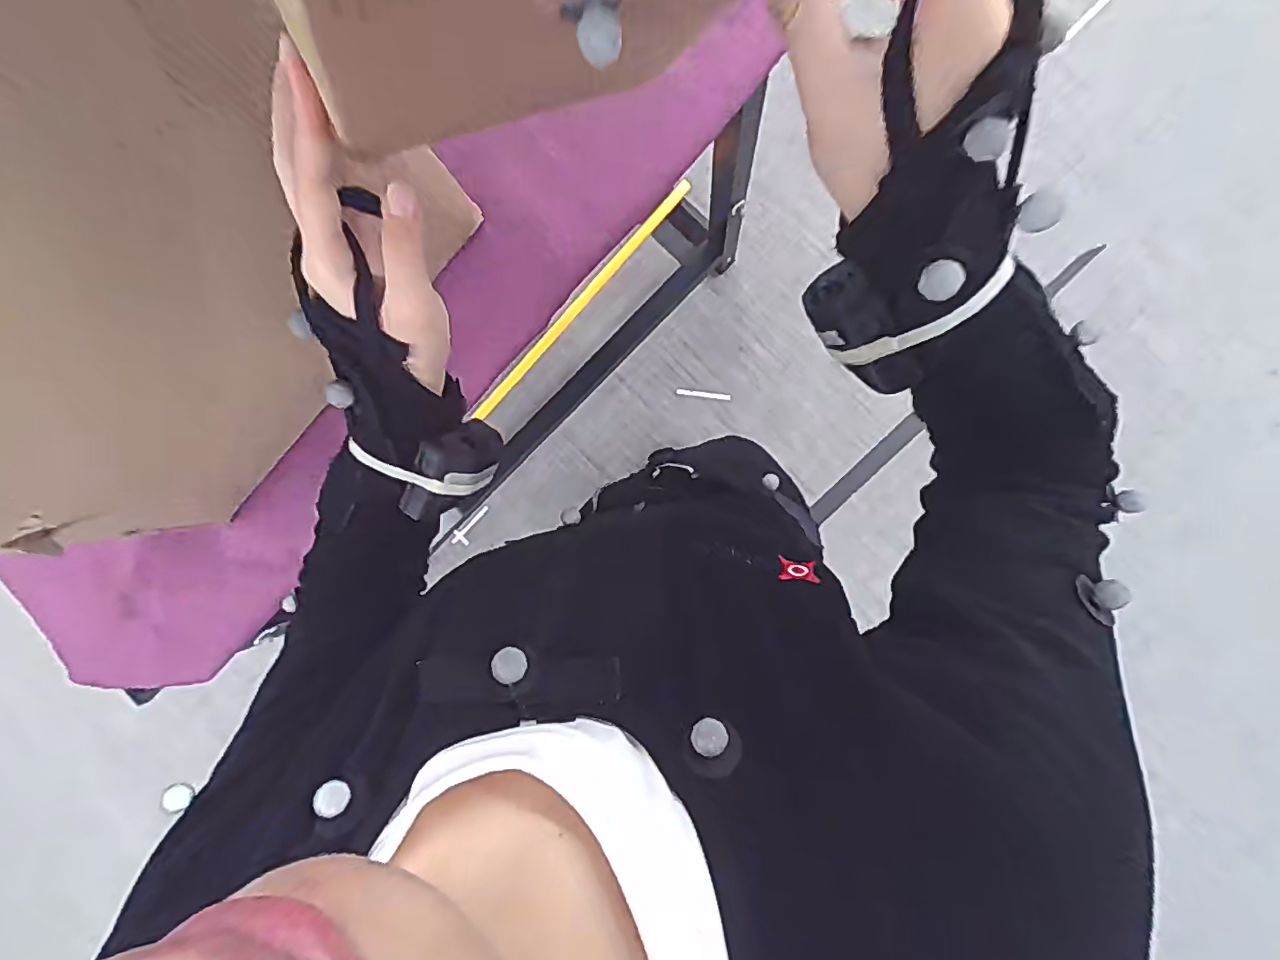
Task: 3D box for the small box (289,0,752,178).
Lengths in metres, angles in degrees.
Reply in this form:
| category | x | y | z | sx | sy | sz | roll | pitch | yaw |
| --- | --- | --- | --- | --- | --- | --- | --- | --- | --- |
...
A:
| category | x | y | z | sx | sy | sz | roll | pitch | yaw |
| --- | --- | --- | --- | --- | --- | --- | --- | --- | --- |
| small box | -0.054 | -0.236 | 0.181 | 0.168 | 0.176 | 0.179 | -25 | 113 | -16 |
